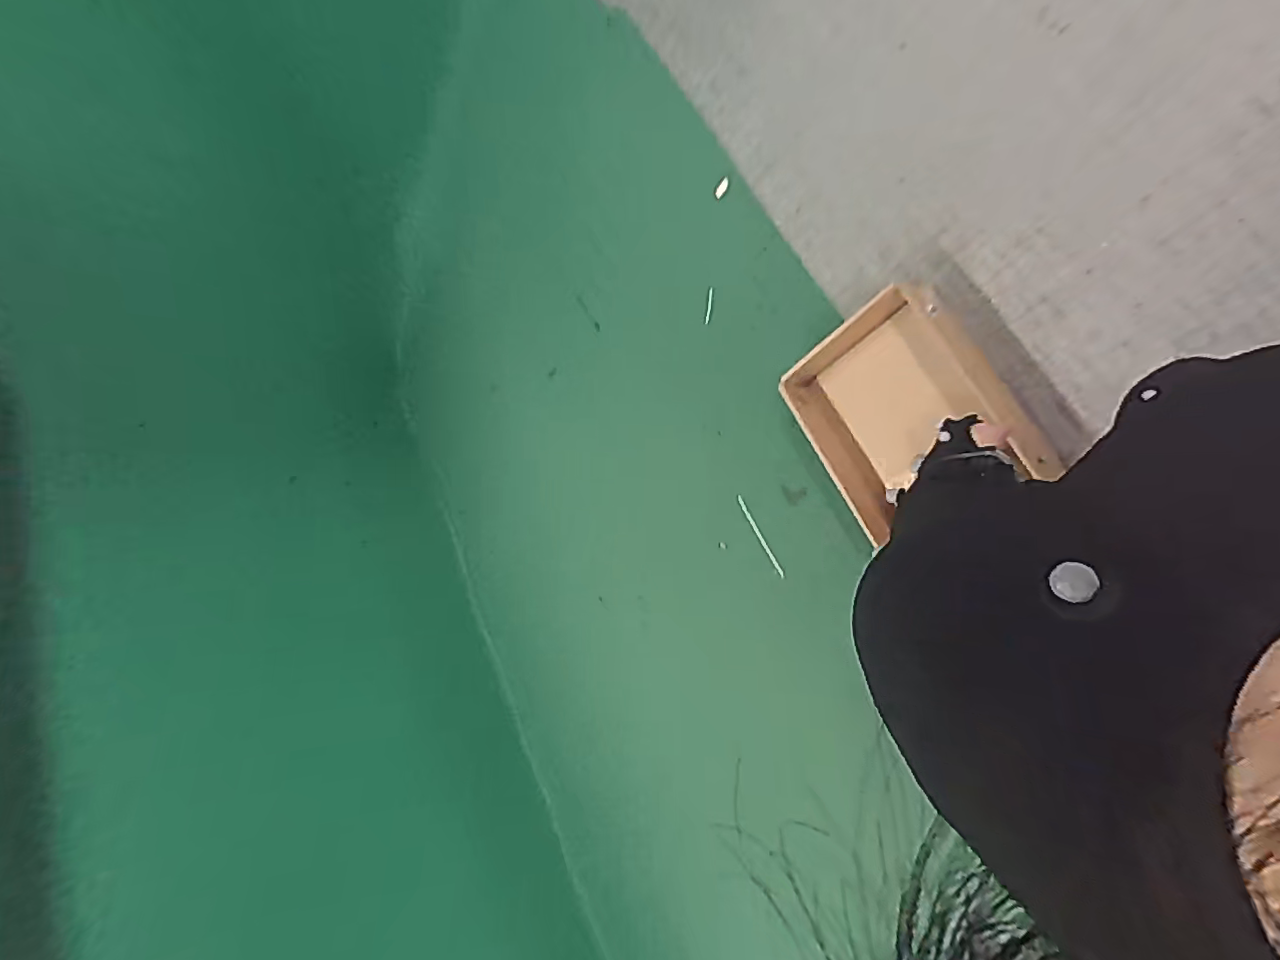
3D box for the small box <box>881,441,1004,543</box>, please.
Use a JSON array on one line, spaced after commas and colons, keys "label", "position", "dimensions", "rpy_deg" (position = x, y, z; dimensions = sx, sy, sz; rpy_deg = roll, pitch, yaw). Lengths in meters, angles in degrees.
[{"label": "small box", "position": [0.719, 0.024, 1.282], "dimensions": [0.168, 0.176, 0.179], "rpy_deg": [-41, 69, 43]}]
